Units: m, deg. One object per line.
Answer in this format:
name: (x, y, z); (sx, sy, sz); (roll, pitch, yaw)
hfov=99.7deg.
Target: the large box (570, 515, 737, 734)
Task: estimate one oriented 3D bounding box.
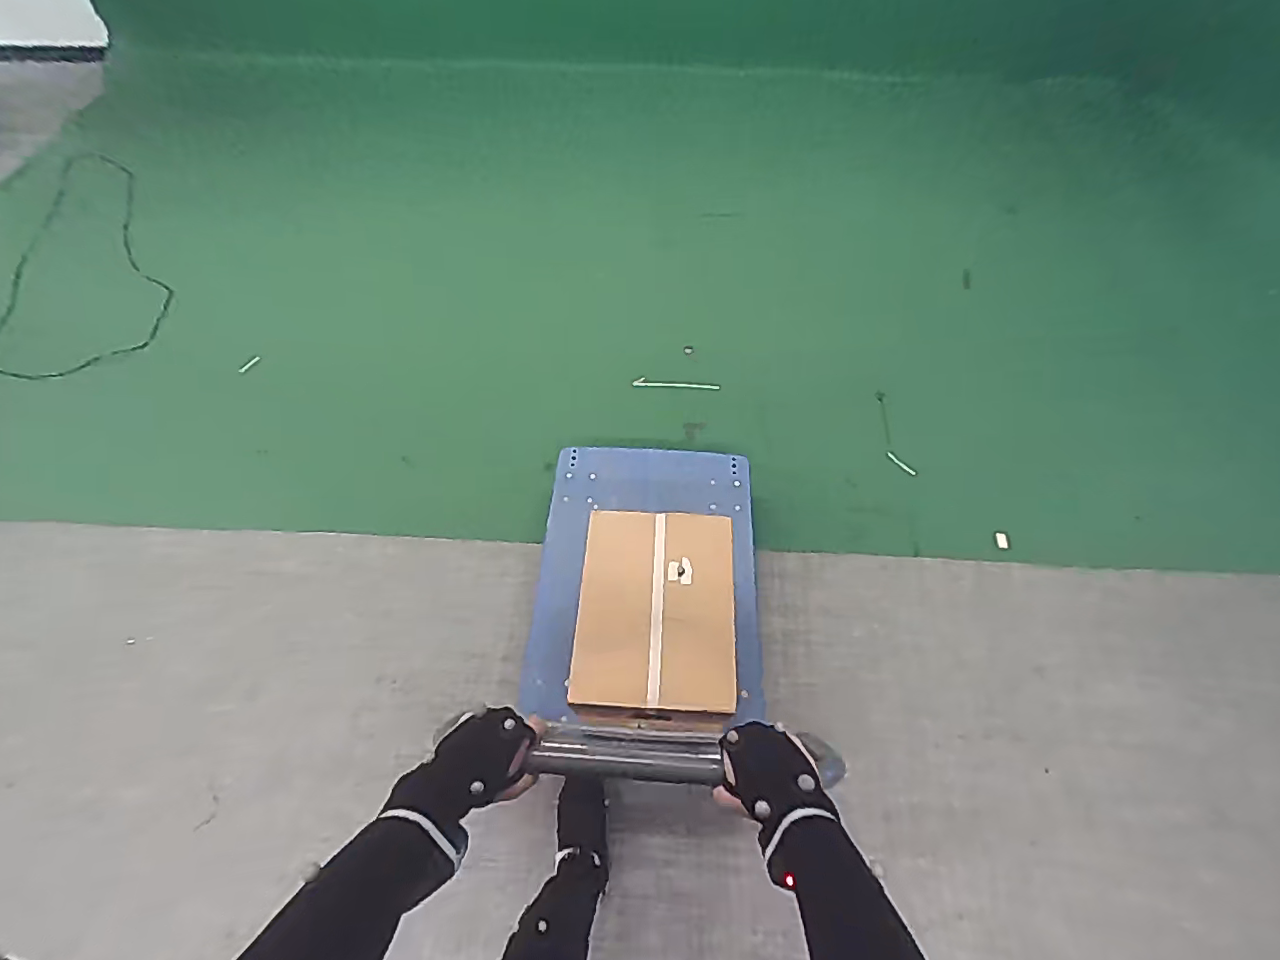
large box: (0.033, 0.331, 1.217); (0.320, 0.320, 0.408); (3, 58, 1)
